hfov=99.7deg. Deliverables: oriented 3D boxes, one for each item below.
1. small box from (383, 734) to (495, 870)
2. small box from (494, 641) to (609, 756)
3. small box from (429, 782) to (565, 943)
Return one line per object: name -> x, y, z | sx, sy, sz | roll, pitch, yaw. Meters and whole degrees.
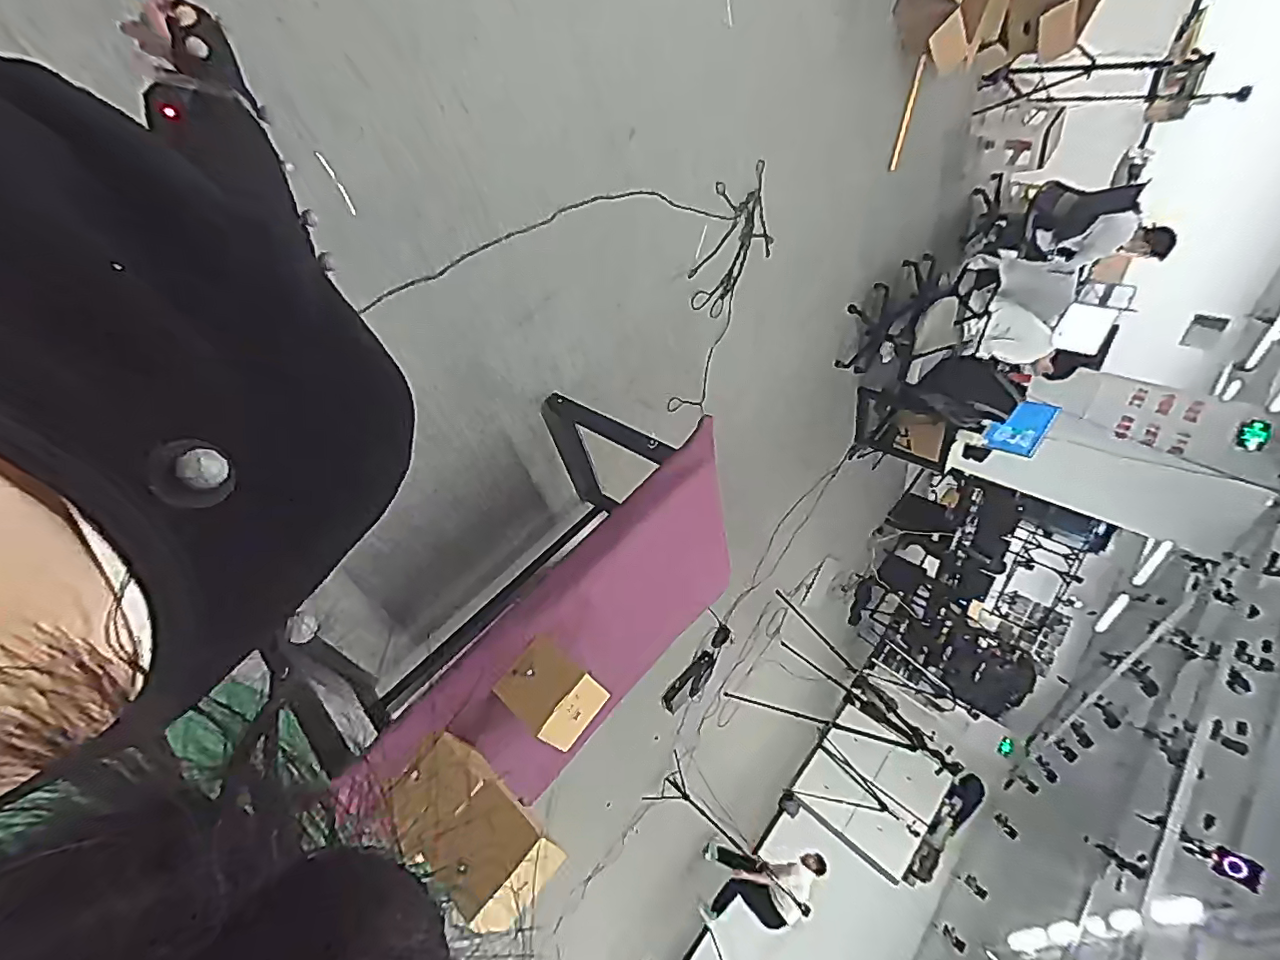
small box -> -0.410, 0.682, 1.142 | 0.179, 0.176, 0.168 | -46, 142, -21
small box -> -0.208, 0.512, 1.280 | 0.168, 0.176, 0.179 | -48, 143, -19
small box -> -0.283, 0.742, 1.056 | 0.179, 0.176, 0.168 | -43, 140, -26
